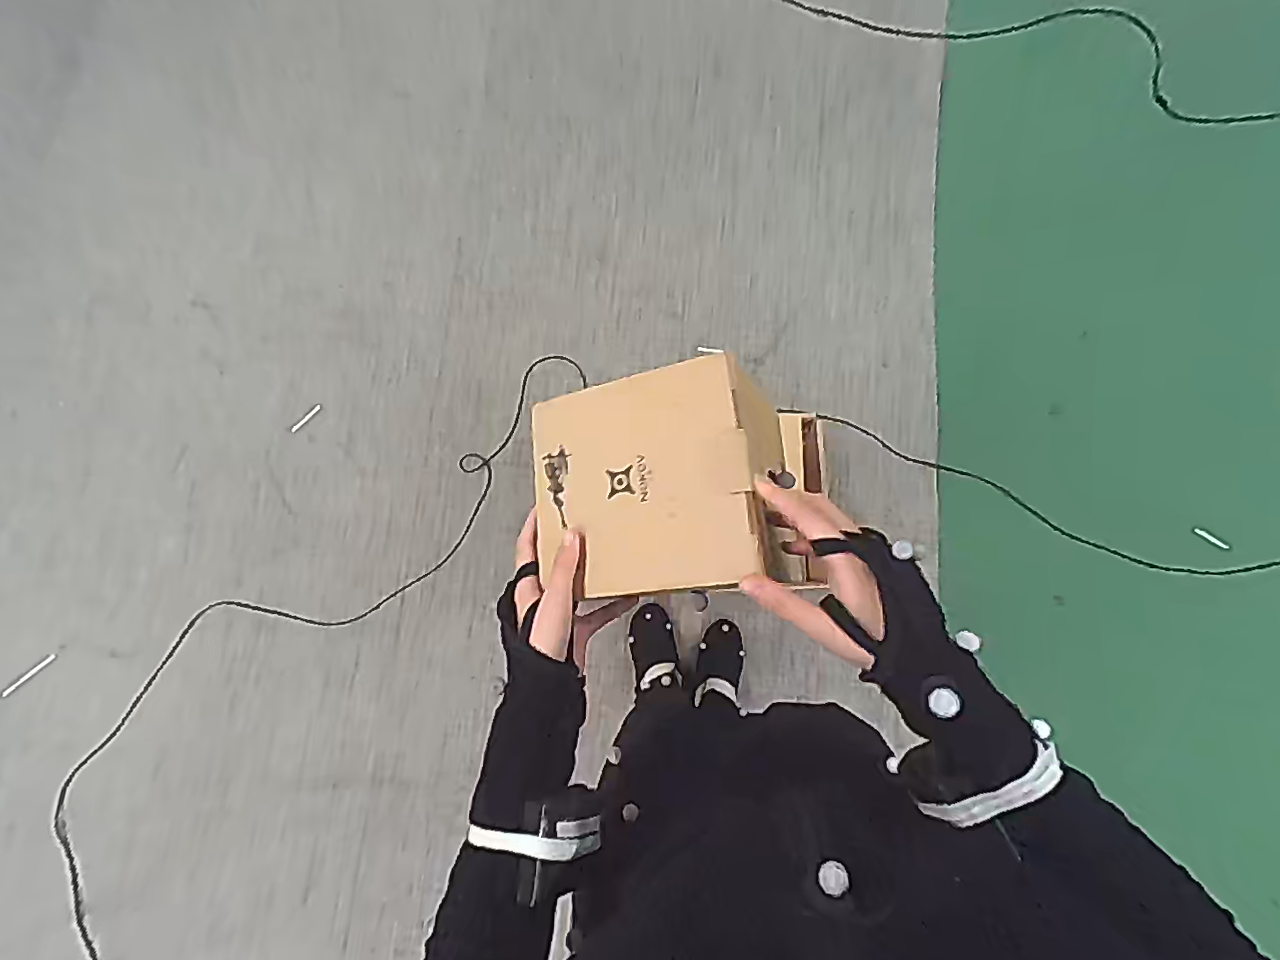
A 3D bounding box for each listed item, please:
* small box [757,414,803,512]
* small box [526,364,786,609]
[{"bbox_3d":[0.228,-0.028,1.105,0.168,0.176,0.179,1,81,1],"label":"small box"},{"bbox_3d":[0.022,0.021,0.474,0.179,0.176,0.168,-11,75,25],"label":"small box"}]
